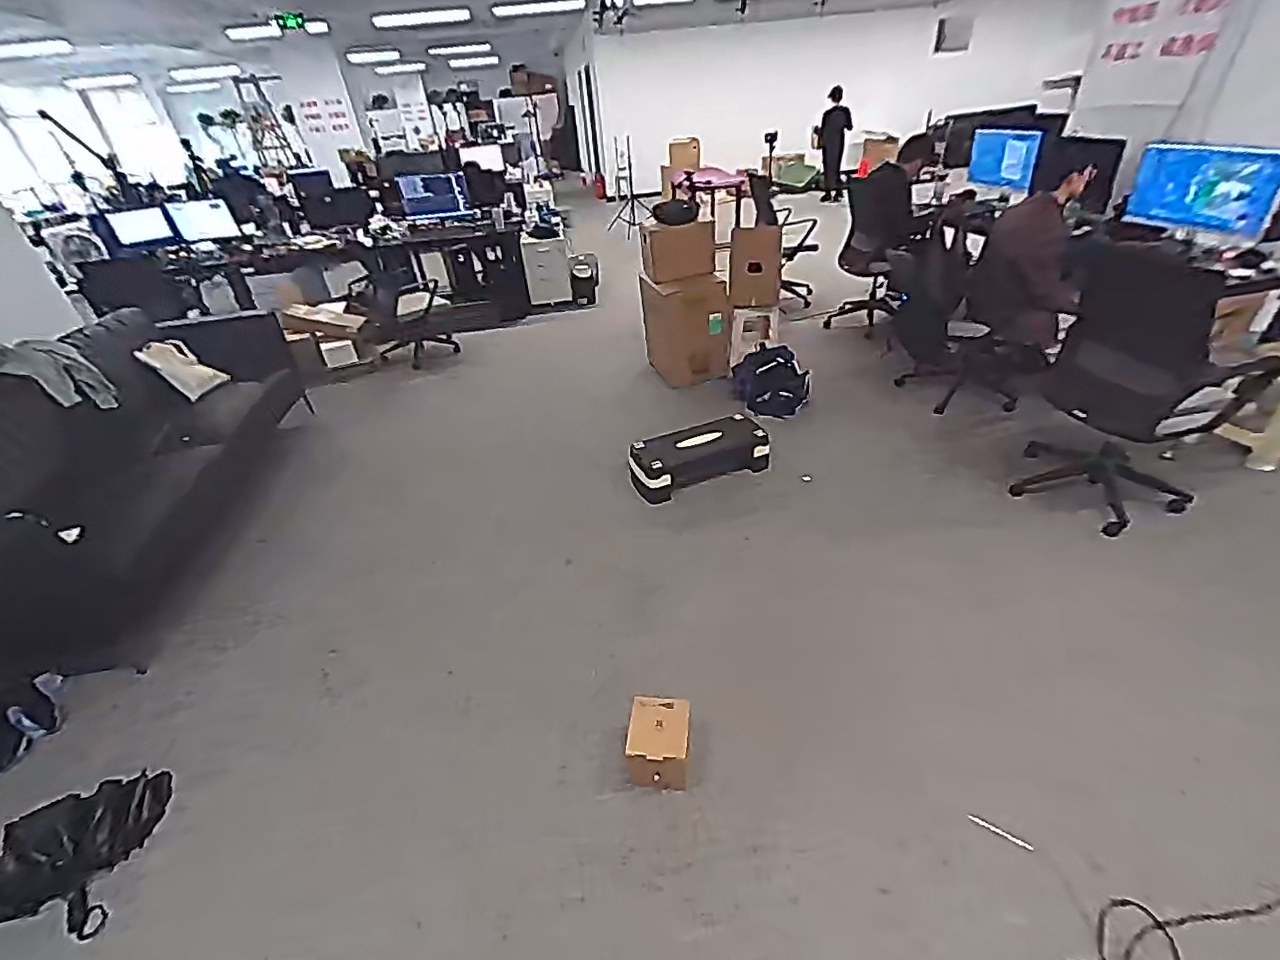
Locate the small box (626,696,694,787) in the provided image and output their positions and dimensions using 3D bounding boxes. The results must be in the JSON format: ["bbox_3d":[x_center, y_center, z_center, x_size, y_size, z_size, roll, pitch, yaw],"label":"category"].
[{"bbox_3d":[0.065,0.745,1.537,0.168,0.176,0.179,0,36,10],"label":"small box"}]
